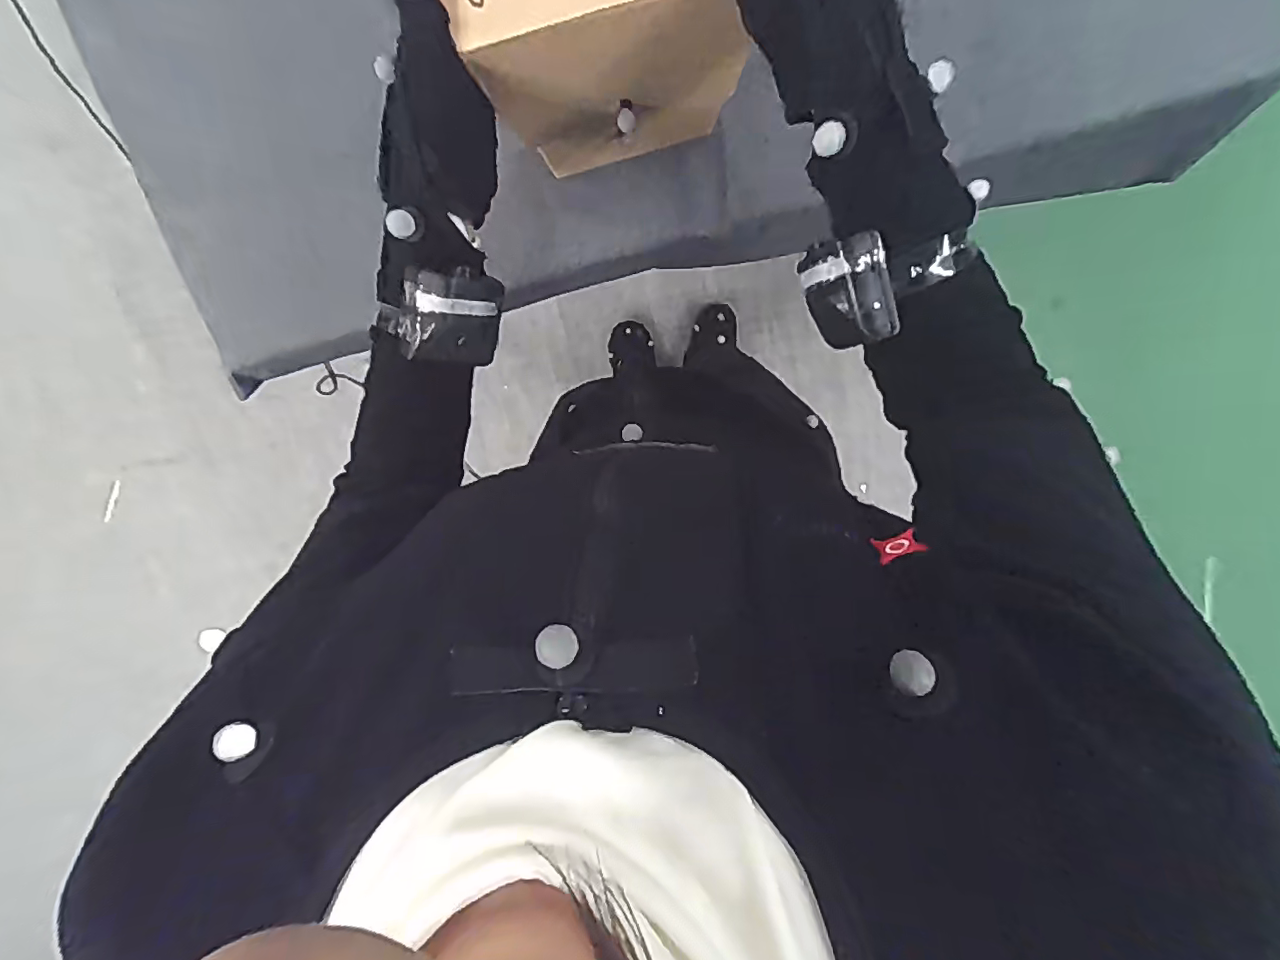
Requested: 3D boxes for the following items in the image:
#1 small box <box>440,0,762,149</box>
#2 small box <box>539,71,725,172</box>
[{"bbox_3d":[-0.034,-0.341,0.340,0.179,0.176,0.168,-14,106,6],"label":"small box"},{"bbox_3d":[-0.032,-0.407,0.489,0.179,0.176,0.168,-13,105,6],"label":"small box"}]
